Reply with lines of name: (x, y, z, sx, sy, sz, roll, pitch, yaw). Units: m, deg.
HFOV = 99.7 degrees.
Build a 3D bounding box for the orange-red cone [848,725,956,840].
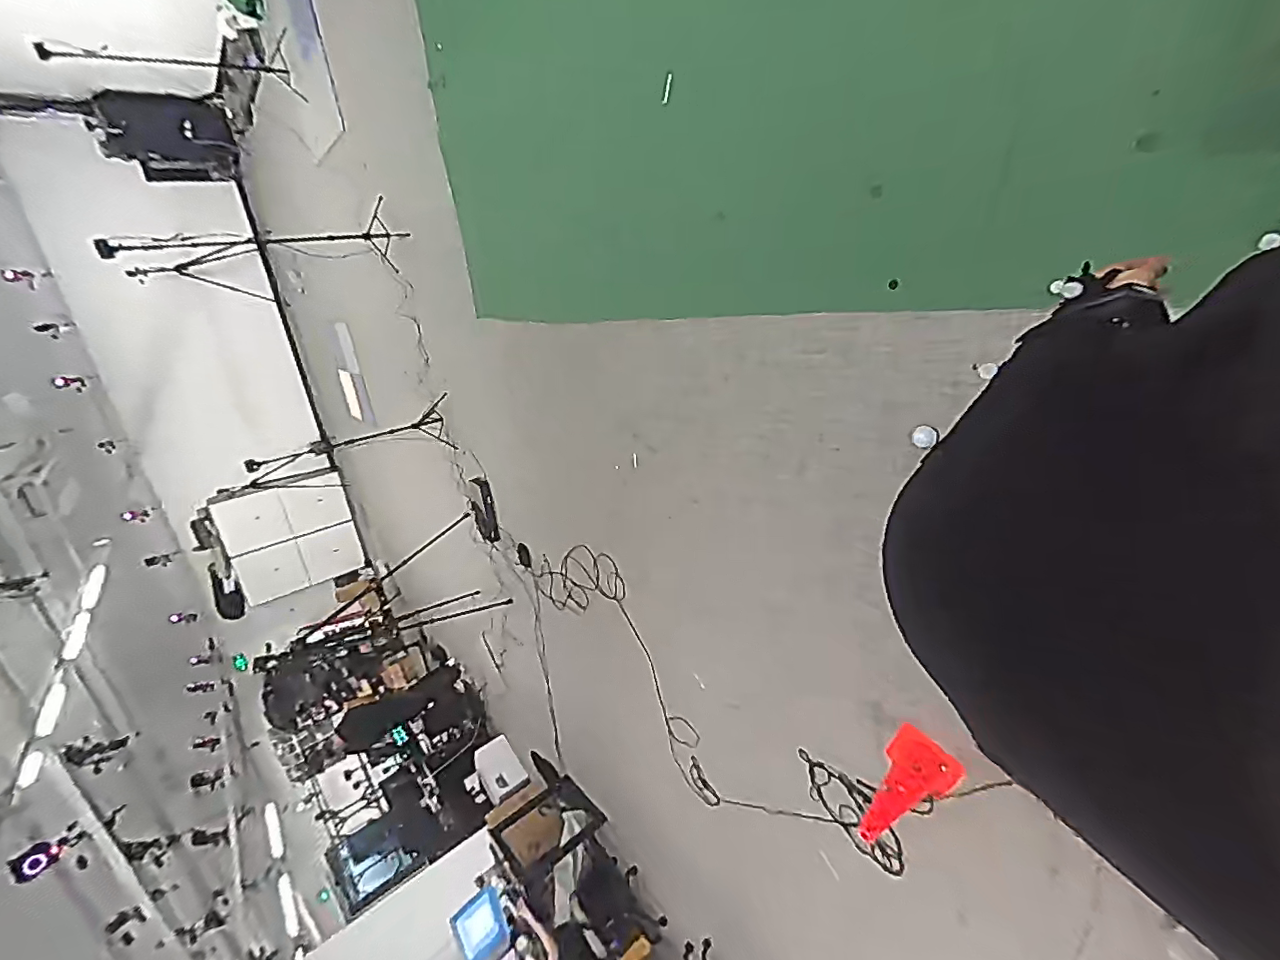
orange-red cone: (0.732, 0.936, 1.604, 0.199, 0.360, 0.198, 41, 136, 36)
